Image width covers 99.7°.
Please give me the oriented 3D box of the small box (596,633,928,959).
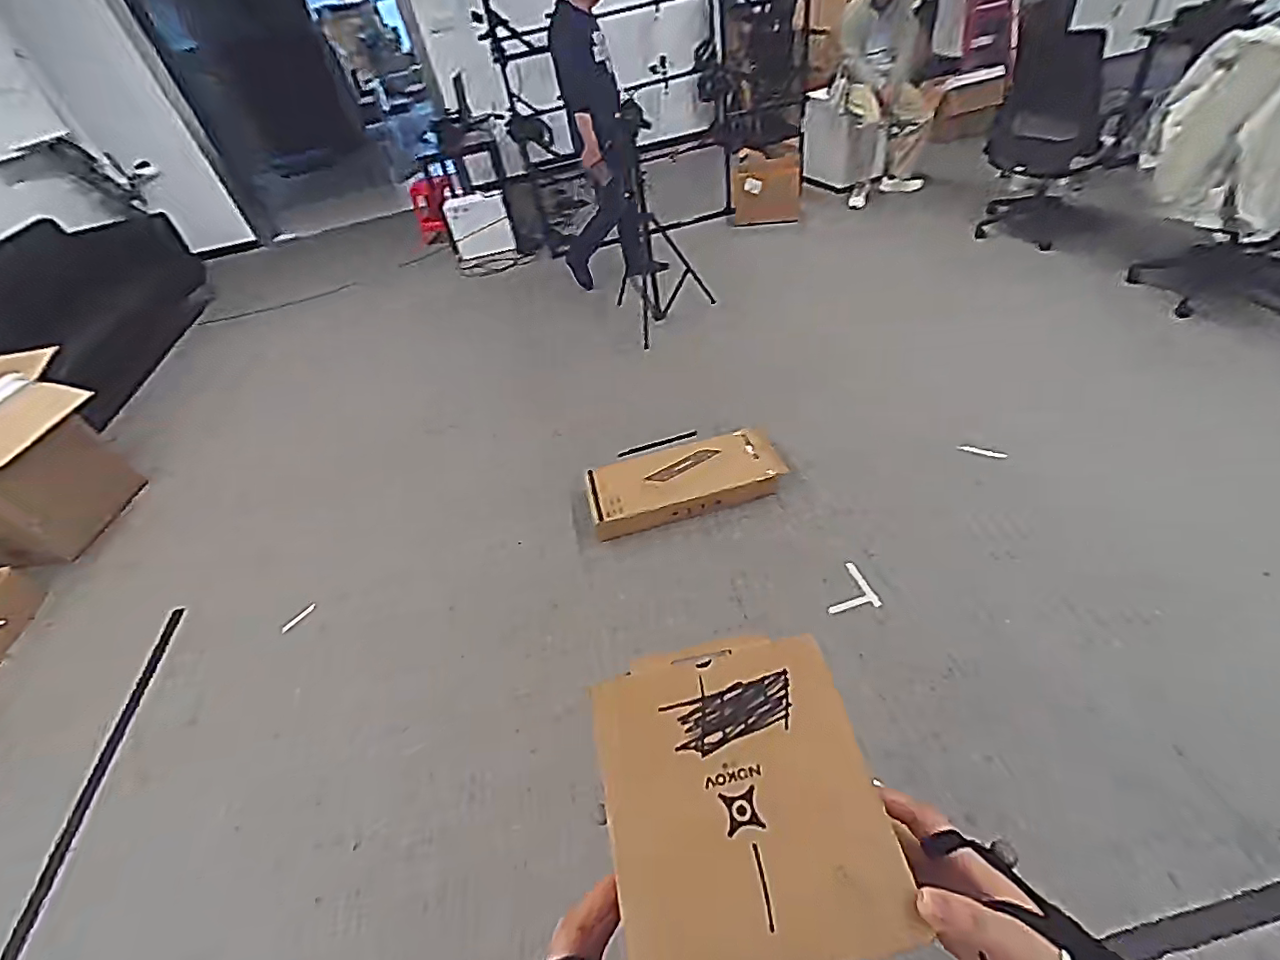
[{"bbox_3d":[0.067,0.241,0.402,0.168,0.176,0.179,-11,53,-4],"label":"small box"}]
